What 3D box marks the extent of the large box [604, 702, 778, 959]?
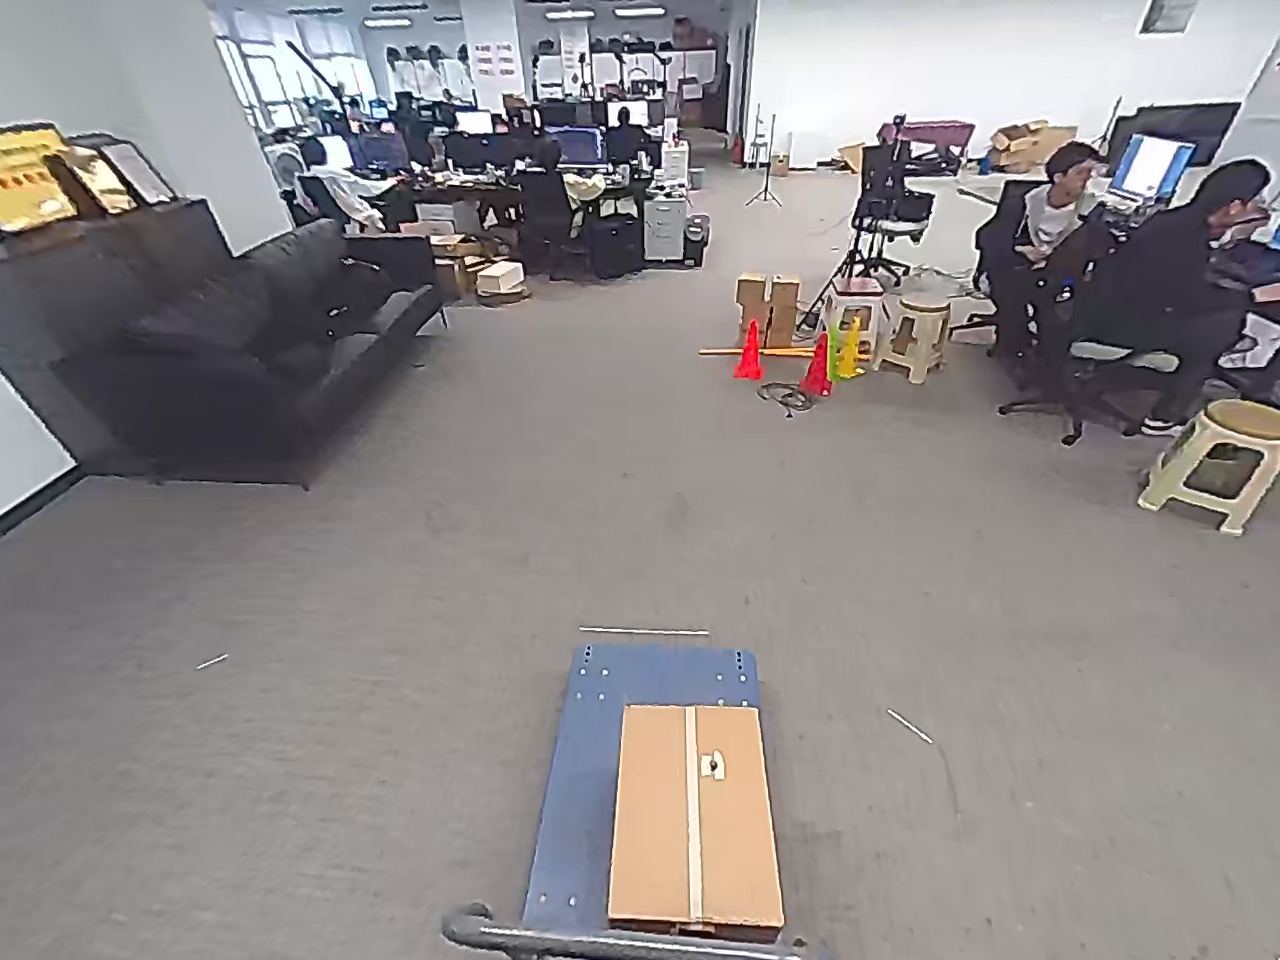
[{"bbox_3d":[0.101,0.762,1.193,0.320,0.320,0.408,1,38,3],"label":"large box"}]
